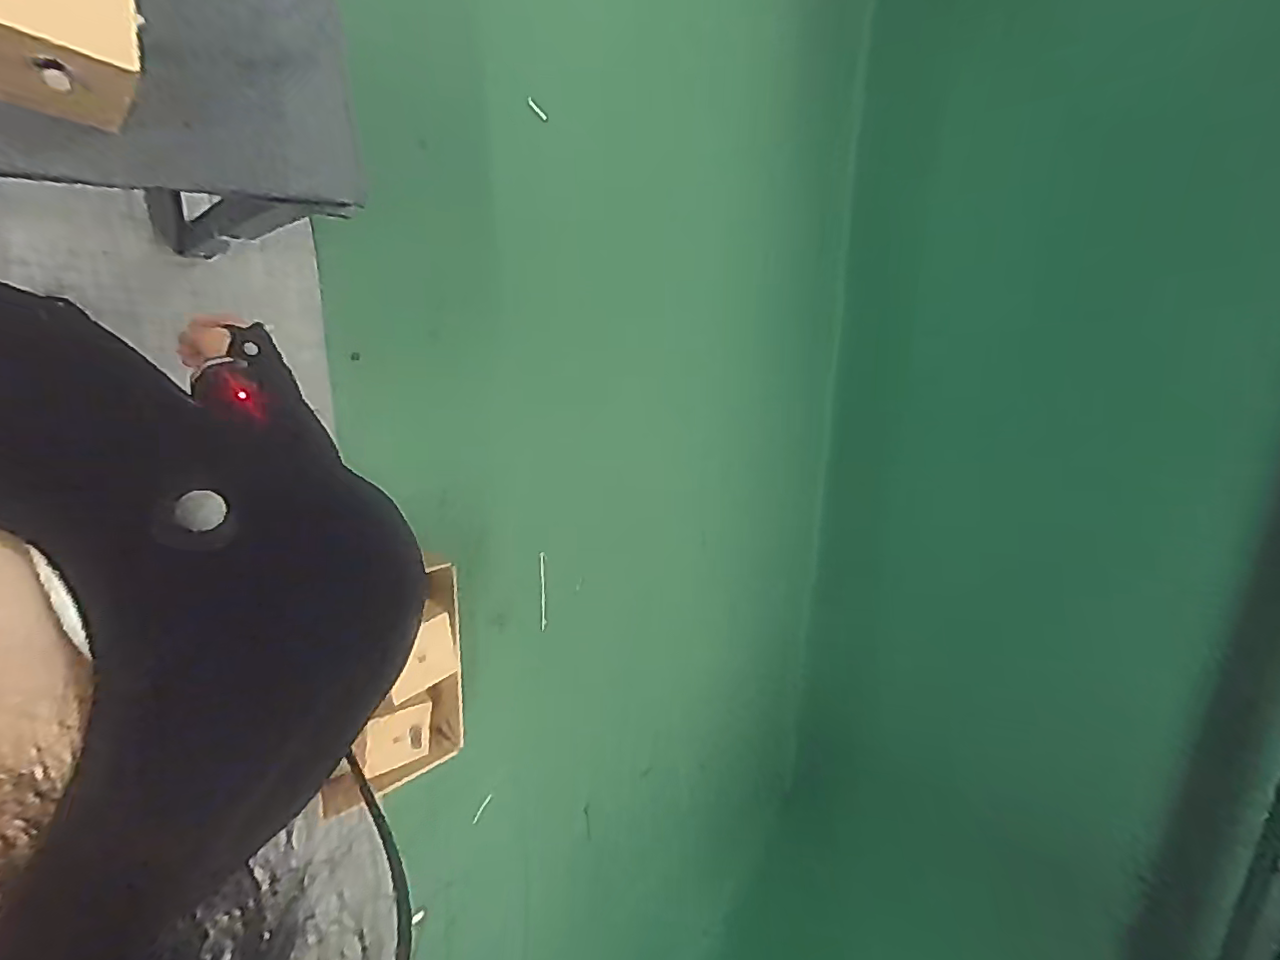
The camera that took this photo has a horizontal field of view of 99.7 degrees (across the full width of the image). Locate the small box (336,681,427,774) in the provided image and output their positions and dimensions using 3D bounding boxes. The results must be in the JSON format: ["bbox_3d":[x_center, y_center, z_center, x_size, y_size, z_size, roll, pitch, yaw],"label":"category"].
[{"bbox_3d":[-0.719,0.667,1.505,0.179,0.176,0.168,-1,101,-48],"label":"small box"}]

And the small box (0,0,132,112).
[{"bbox_3d":[-0.503,-0.402,0.390,0.179,0.176,0.168,-7,103,-48],"label":"small box"}]

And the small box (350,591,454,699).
[{"bbox_3d":[-0.586,0.391,1.326,0.168,0.176,0.179,-23,119,-42],"label":"small box"}]
